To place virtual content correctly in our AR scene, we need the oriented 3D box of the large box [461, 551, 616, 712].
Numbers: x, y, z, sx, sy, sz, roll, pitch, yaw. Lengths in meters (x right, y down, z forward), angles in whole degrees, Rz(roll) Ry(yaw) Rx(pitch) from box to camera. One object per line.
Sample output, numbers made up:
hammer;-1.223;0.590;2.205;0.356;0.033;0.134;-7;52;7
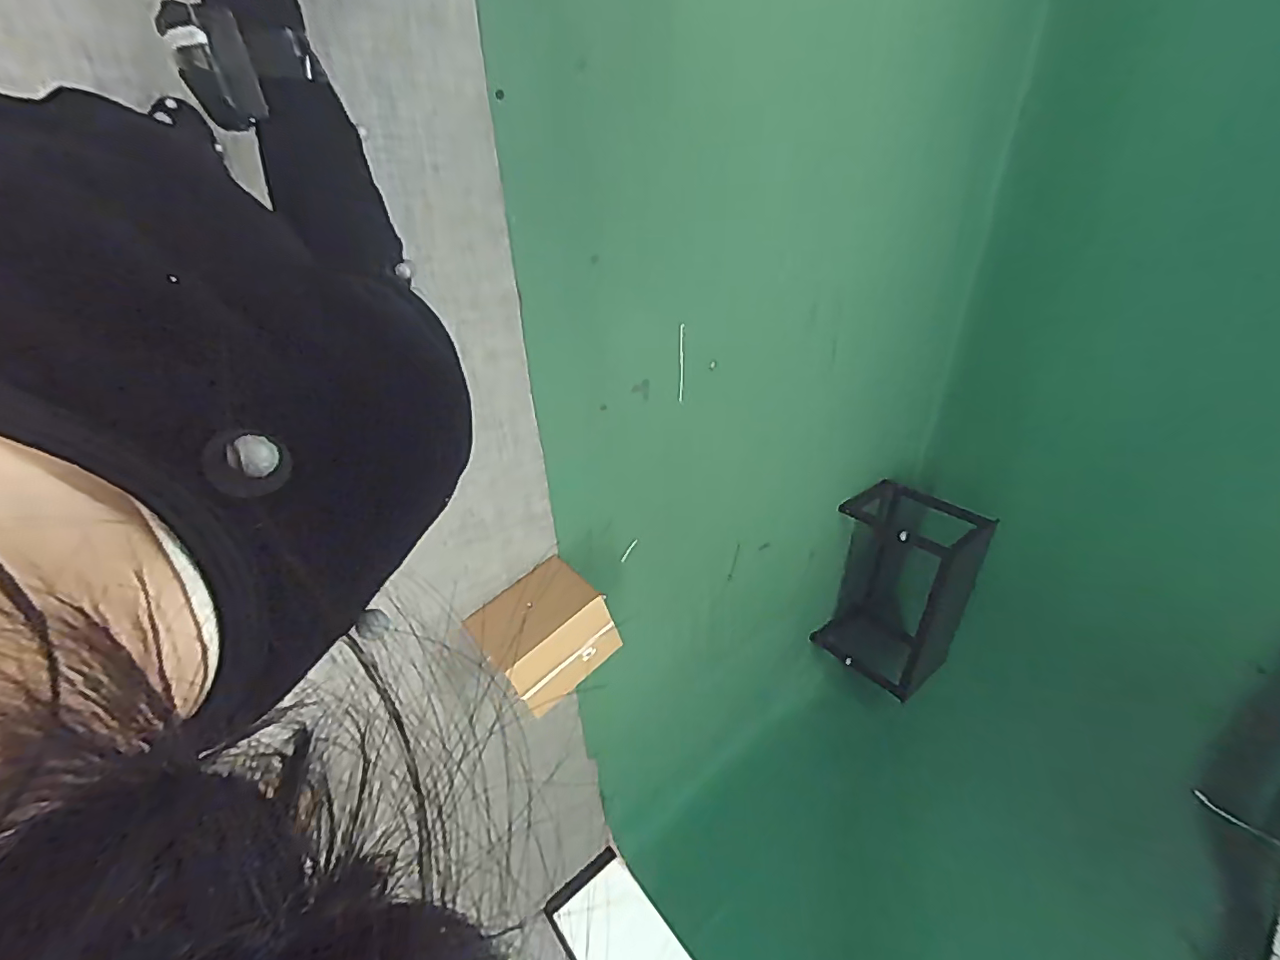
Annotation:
large box;-0.366;0.542;1.984;0.408;0.320;0.320;-37;134;-24
